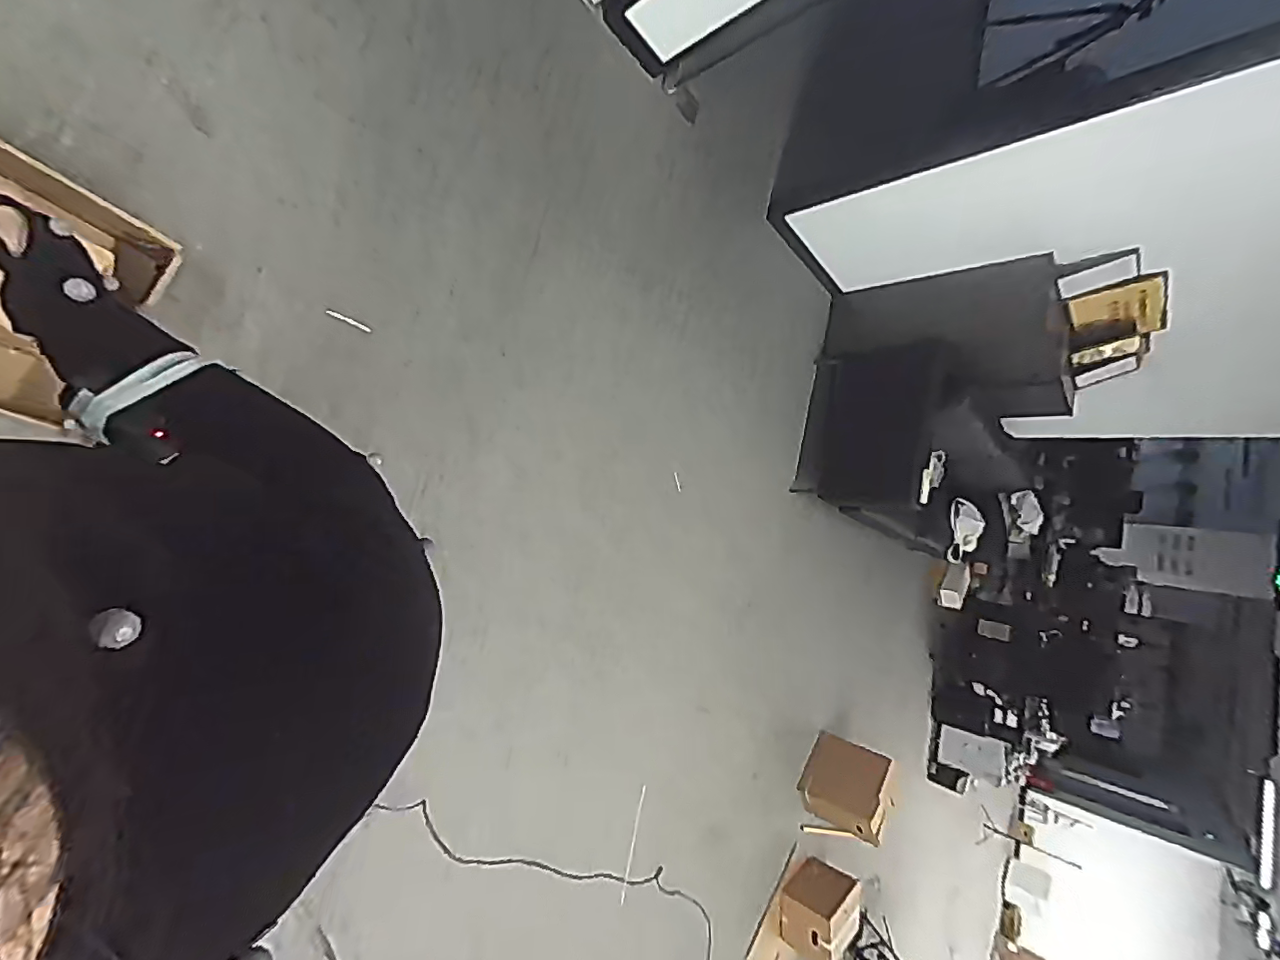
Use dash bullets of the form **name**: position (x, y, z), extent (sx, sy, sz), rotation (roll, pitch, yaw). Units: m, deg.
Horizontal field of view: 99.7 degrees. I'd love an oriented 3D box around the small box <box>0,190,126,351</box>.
- **small box**: position (-0.923, -0.309, 0.815), extent (0.179, 0.176, 0.168), rotation (29, 74, -40)
